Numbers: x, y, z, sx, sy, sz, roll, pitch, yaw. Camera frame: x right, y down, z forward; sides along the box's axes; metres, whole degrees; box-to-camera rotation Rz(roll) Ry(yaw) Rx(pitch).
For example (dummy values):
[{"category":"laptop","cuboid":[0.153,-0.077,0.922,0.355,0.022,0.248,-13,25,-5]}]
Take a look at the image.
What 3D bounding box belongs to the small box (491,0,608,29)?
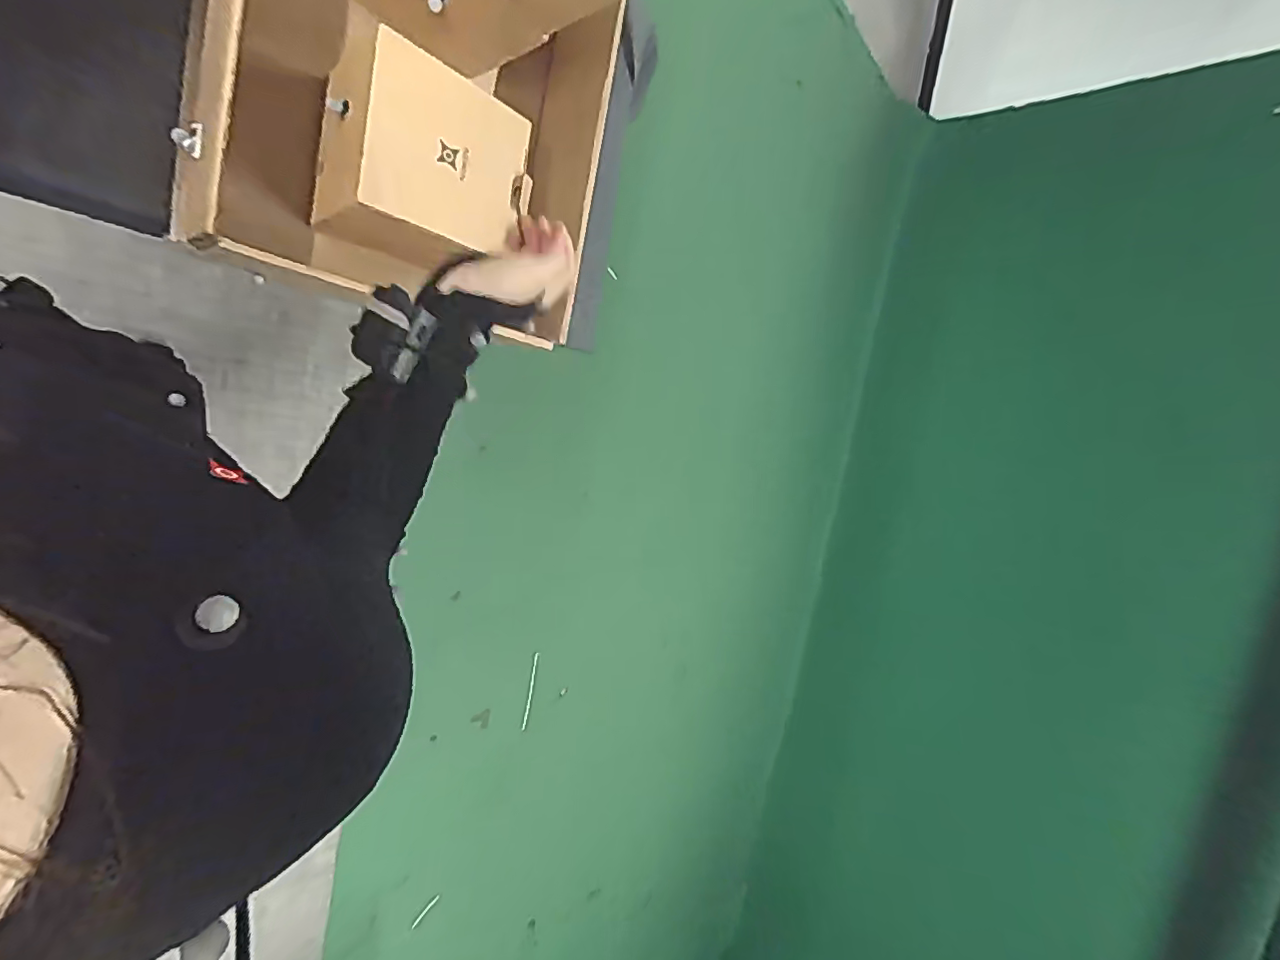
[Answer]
[{"category":"small box","cuboid":[-0.097,-0.578,0.497,0.168,0.176,0.179,7,100,-49]}]
